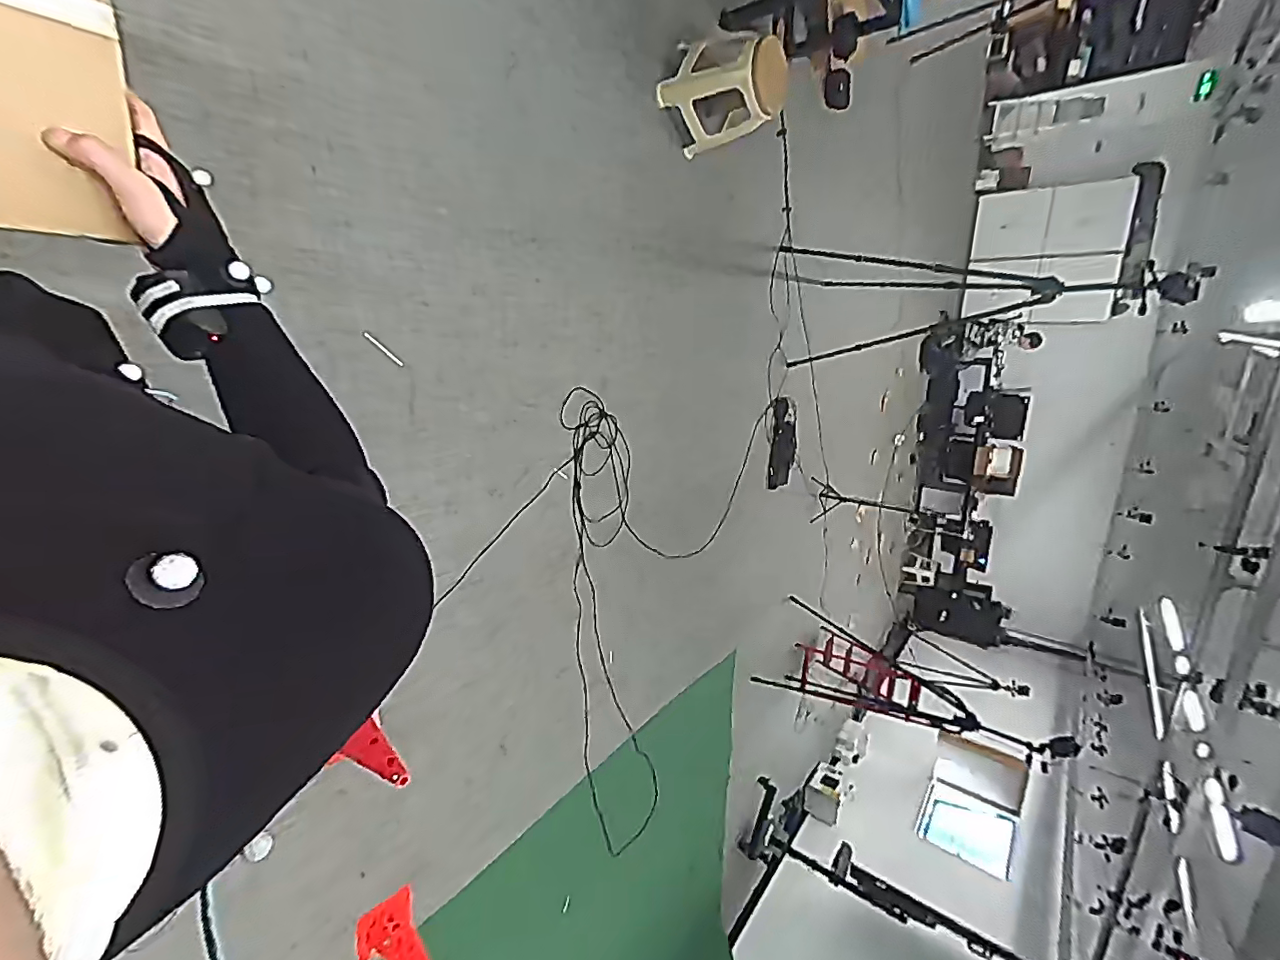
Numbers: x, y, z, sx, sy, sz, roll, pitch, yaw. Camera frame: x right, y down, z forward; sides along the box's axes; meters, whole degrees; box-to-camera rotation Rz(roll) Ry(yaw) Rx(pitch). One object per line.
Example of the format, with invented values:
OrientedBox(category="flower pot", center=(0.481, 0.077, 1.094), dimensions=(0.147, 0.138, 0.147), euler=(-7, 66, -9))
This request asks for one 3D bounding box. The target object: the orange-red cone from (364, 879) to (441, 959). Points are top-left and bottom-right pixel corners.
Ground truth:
OrientedBox(category="orange-red cone", center=(-0.797, 1.657, 1.923), dimensions=(0.199, 0.360, 0.198), euler=(-9, 108, -52))
